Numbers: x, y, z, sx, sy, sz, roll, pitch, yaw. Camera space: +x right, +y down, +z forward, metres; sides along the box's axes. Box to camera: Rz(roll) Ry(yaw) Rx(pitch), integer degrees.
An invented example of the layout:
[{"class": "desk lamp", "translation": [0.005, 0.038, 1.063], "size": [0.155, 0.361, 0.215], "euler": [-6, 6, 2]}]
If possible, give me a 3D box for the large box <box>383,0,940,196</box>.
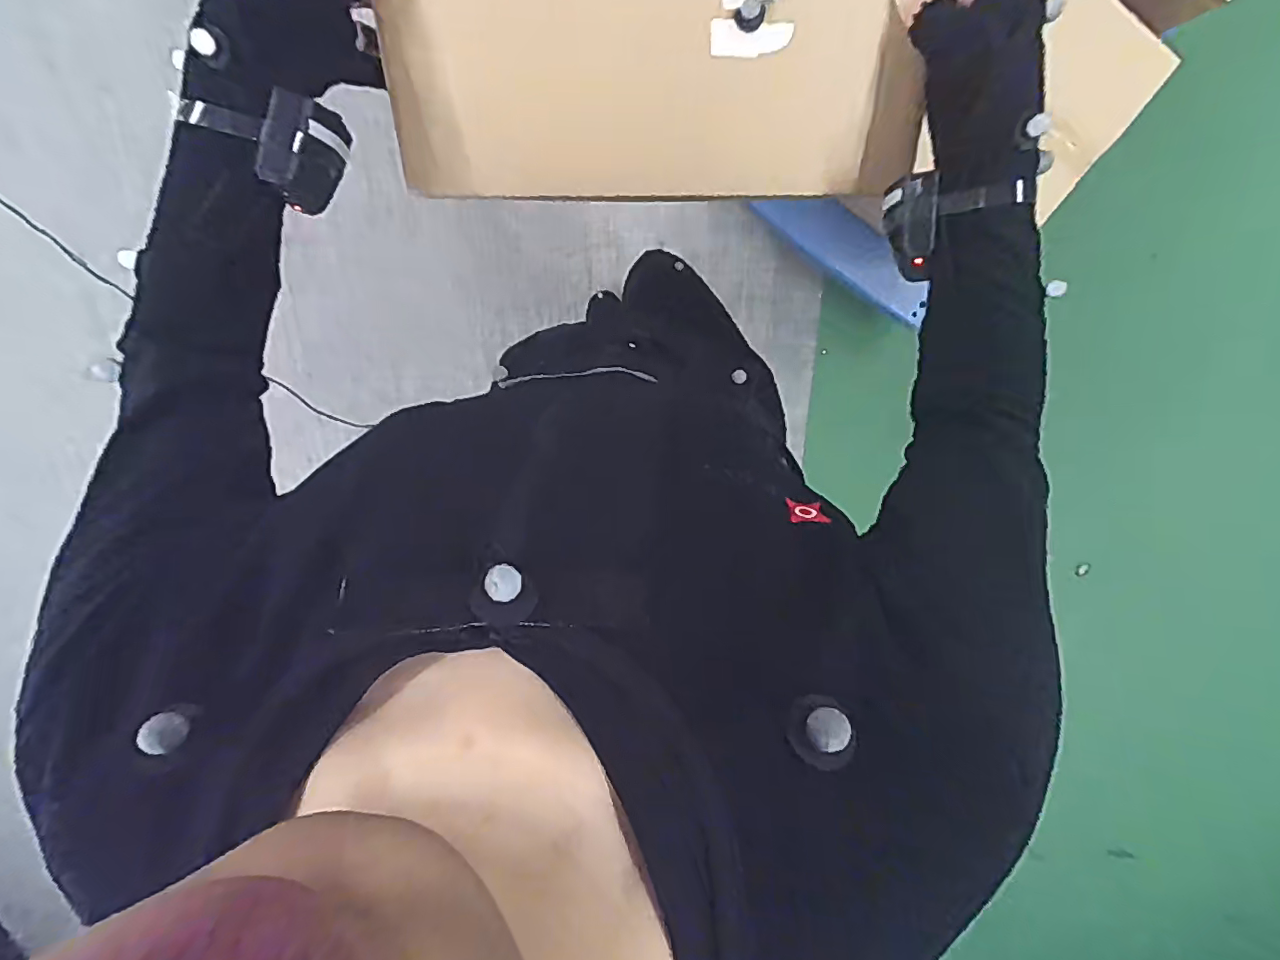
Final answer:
[{"class": "large box", "translation": [0.015, -0.445, 0.497], "size": [0.408, 0.320, 0.320], "euler": [0, 117, 1]}]
